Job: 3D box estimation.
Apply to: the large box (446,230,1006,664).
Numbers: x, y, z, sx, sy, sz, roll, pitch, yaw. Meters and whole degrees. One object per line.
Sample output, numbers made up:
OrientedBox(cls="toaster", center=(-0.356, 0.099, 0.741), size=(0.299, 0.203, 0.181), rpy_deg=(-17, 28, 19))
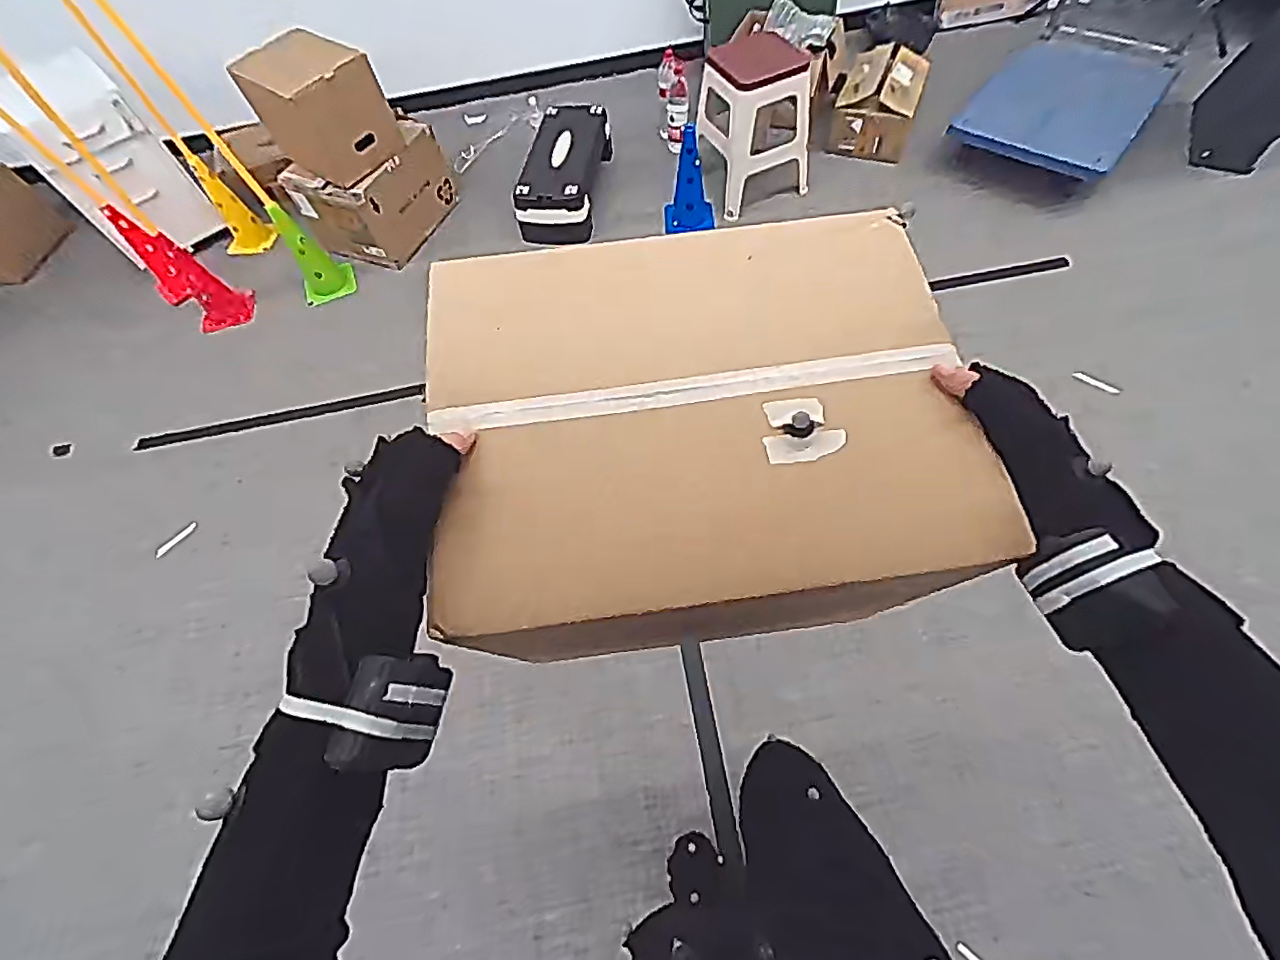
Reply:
OrientedBox(cls="large box", center=(0.046, -0.006, 0.568), size=(0.408, 0.320, 0.320), rpy_deg=(-8, 68, -2))
